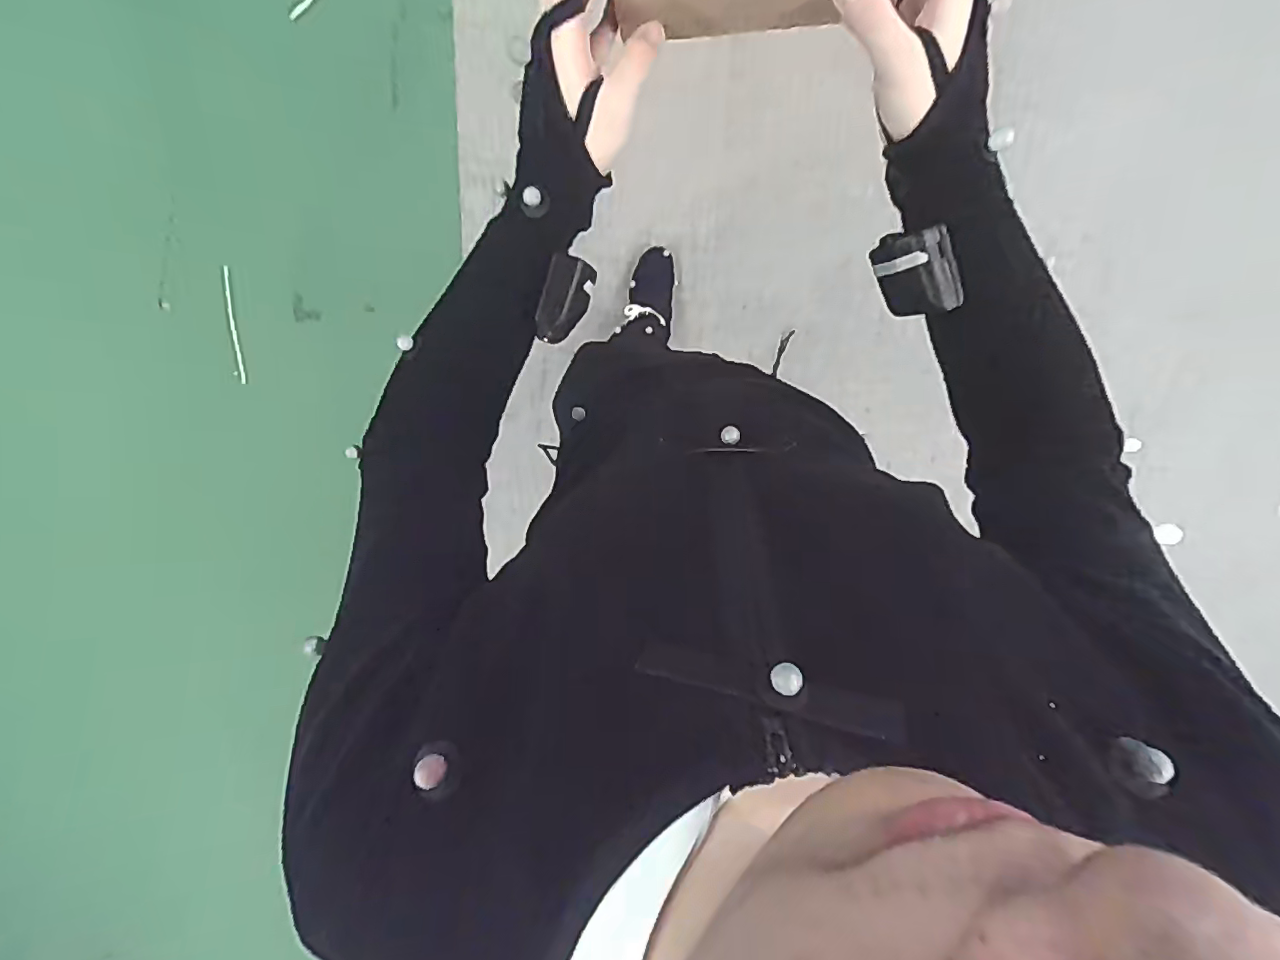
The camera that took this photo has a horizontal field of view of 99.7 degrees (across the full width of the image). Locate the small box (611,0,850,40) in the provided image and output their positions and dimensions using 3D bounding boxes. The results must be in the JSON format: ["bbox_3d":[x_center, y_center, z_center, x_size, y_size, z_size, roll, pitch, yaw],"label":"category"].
[{"bbox_3d":[0.063,-0.389,0.309,0.179,0.176,0.168,-1,107,5],"label":"small box"}]
